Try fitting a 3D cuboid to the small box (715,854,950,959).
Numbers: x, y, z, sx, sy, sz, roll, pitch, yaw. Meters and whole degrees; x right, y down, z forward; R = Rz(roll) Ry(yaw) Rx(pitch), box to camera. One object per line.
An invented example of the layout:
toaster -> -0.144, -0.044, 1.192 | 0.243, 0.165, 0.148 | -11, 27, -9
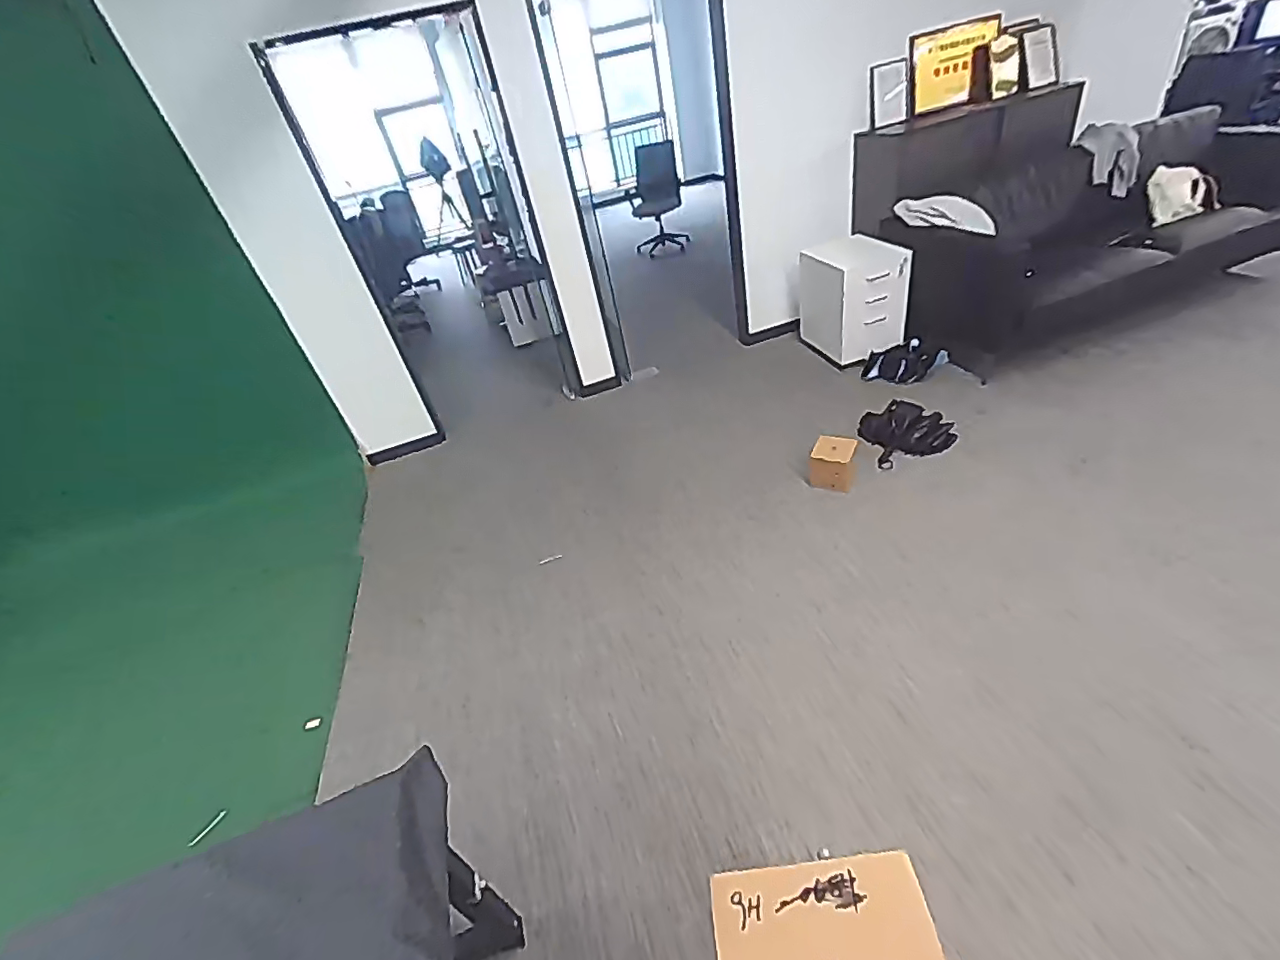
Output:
small box -> 0.163, 0.430, 0.428 | 0.168, 0.176, 0.179 | -12, 39, 7
